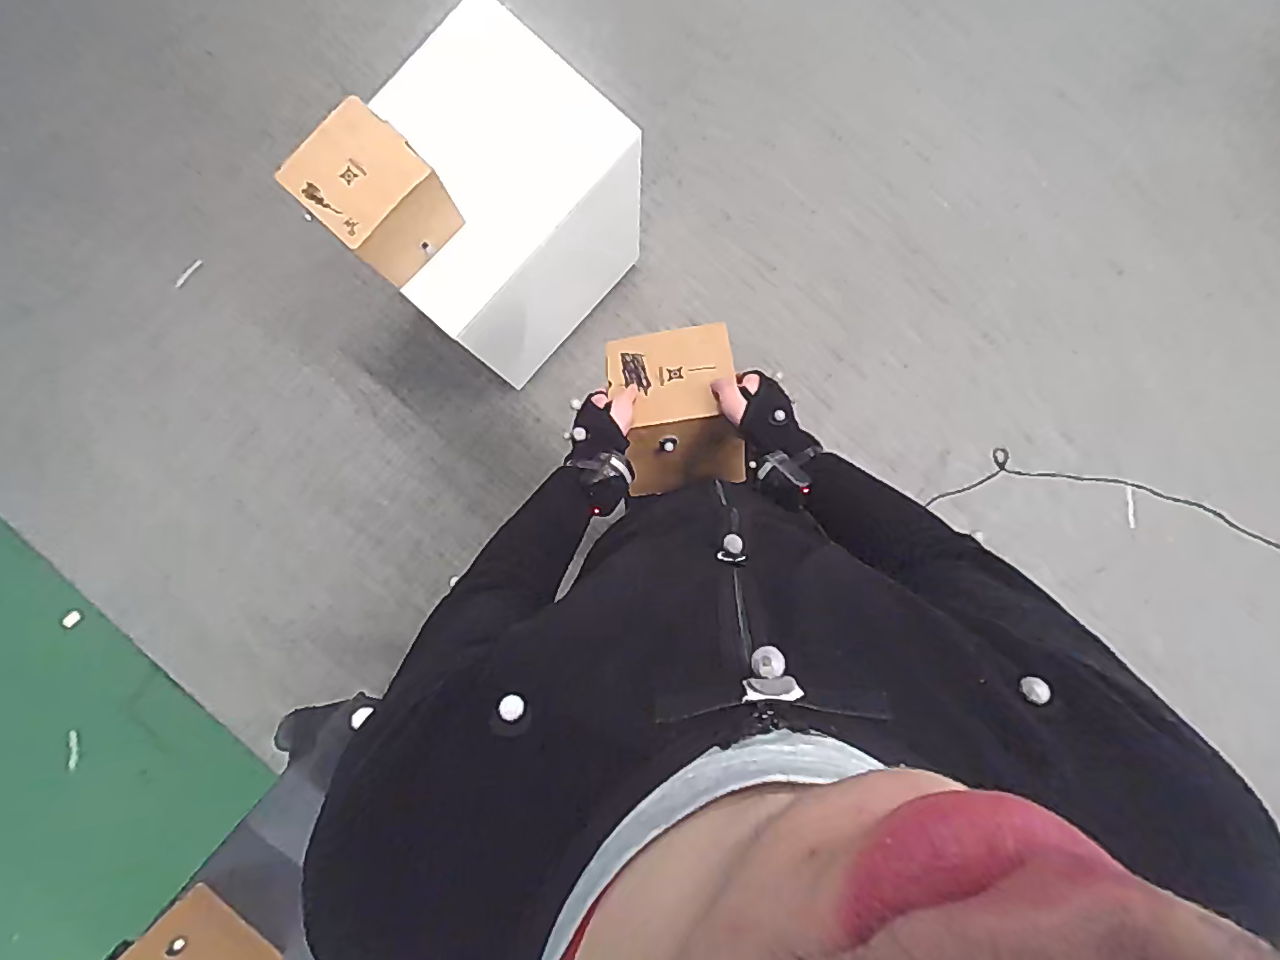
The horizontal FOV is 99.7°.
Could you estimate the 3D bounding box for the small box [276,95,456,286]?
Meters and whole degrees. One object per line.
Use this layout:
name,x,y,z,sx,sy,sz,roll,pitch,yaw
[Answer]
small box,-0.425,-0.456,0.881,0.168,0.176,0.179,44,88,0

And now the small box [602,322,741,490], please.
small box,0.048,-0.099,0.787,0.179,0.176,0.168,-8,57,7

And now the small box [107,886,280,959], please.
small box,-0.664,0.721,0.750,0.179,0.176,0.168,43,91,-2
